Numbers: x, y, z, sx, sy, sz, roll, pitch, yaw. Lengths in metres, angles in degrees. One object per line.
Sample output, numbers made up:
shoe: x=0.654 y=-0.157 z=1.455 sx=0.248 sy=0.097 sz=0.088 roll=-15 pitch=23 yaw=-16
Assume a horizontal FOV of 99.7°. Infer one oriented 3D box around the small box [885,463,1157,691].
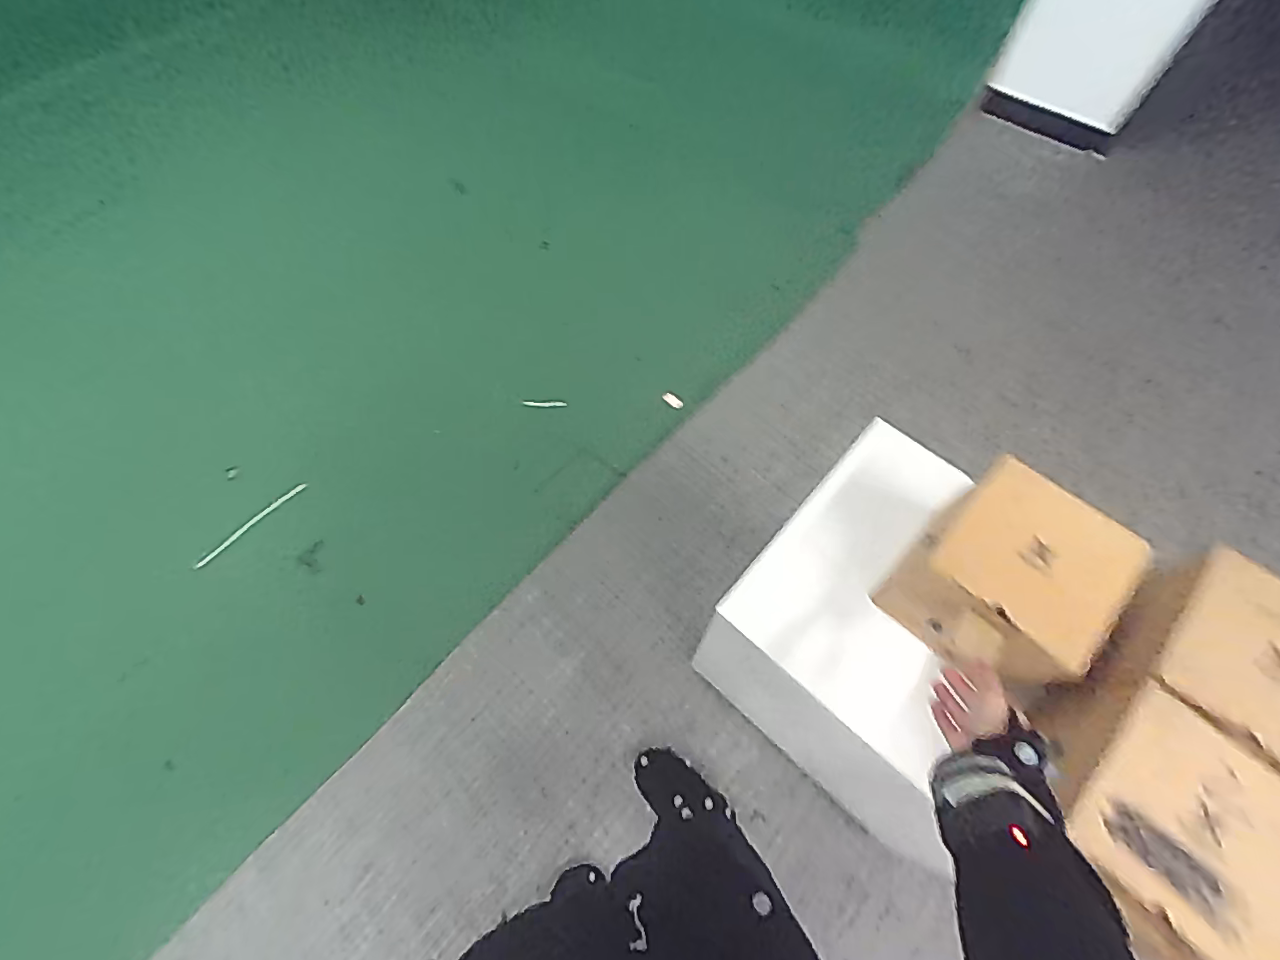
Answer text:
small box: x=0.422 y=0.120 z=0.631 sx=0.168 sy=0.176 sz=0.179 roll=40 pitch=72 yaw=19
